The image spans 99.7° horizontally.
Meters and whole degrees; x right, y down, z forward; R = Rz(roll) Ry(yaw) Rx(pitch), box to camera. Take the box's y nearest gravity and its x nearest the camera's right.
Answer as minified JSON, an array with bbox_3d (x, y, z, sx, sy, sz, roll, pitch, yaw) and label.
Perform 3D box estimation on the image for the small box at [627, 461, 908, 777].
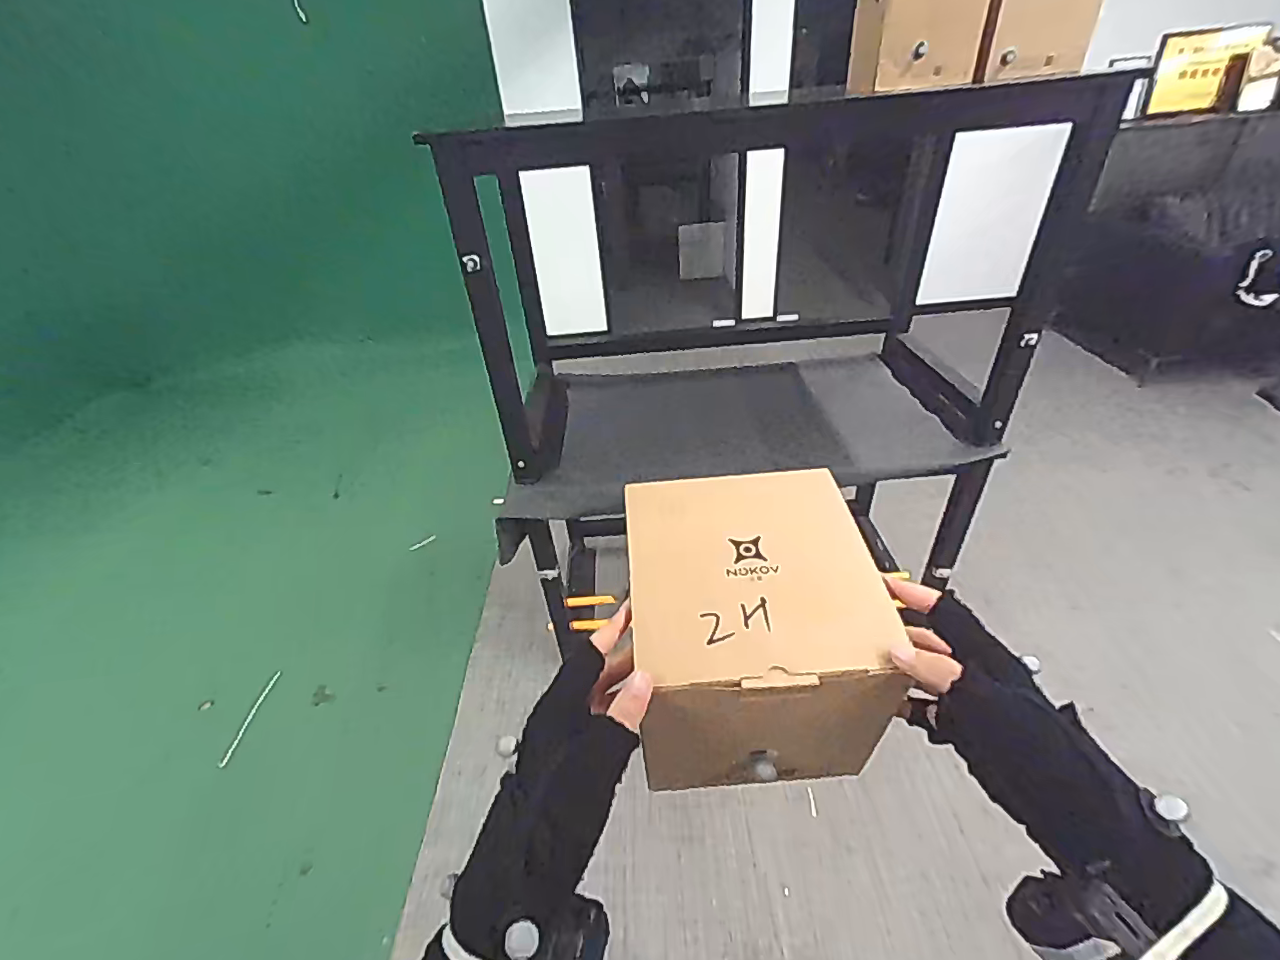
[{"bbox_3d":[0.076,0.107,0.428,0.168,0.176,0.179,-5,41,1],"label":"small box"}]

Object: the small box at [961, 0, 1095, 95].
[{"bbox_3d":[0.667,-0.798,0.959,0.168,0.176,0.179,-3,34,4],"label":"small box"}]

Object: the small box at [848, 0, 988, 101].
[{"bbox_3d":[0.485,-0.784,0.967,0.168,0.176,0.179,-2,36,4],"label":"small box"}]
